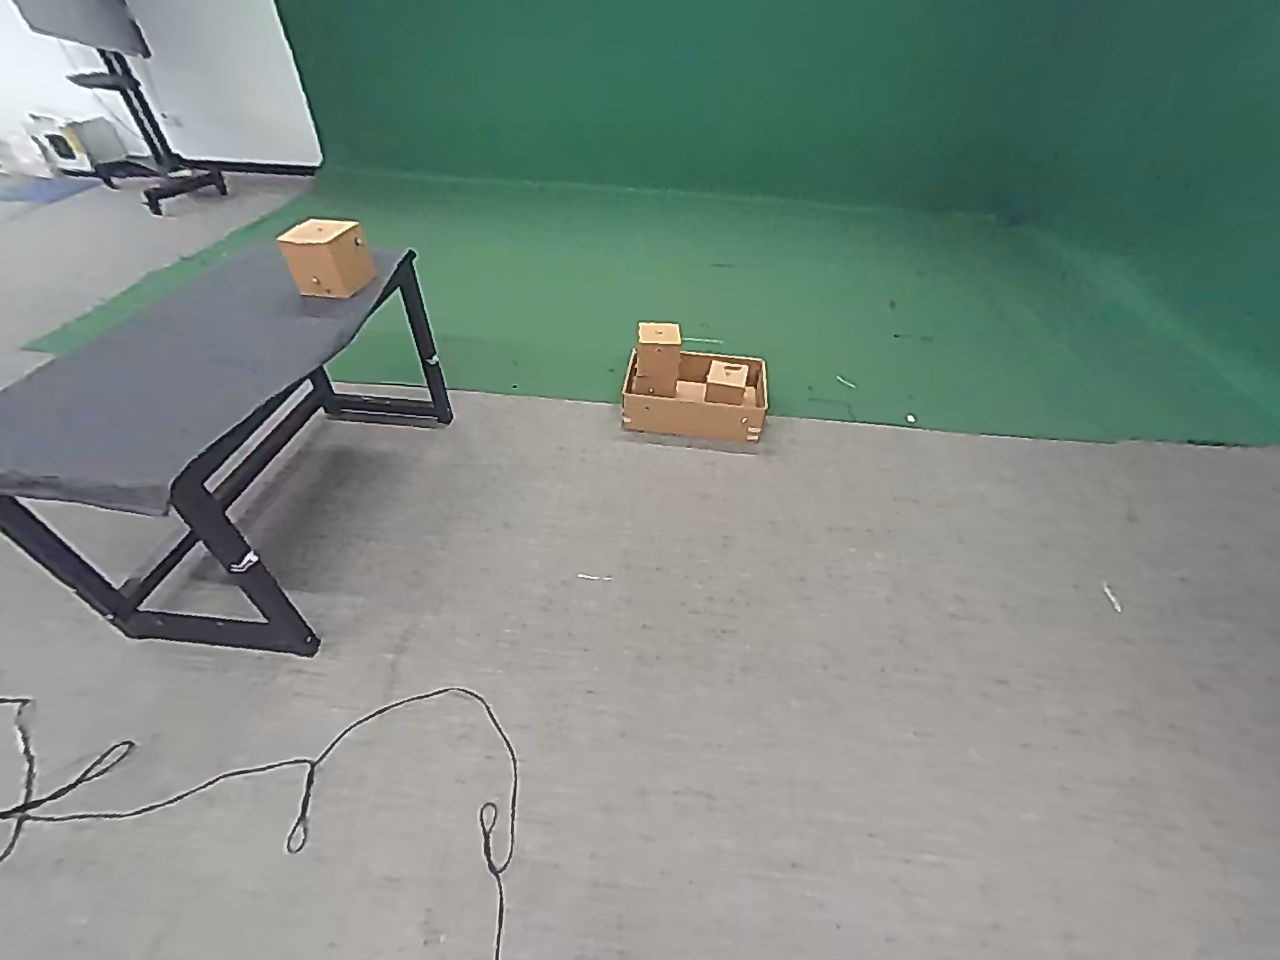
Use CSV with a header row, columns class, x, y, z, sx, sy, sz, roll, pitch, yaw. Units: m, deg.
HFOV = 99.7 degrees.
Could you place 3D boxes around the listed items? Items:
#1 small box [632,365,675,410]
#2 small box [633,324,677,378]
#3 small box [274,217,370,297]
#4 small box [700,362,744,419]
class,x,y,z,sx,sy,sz,roll,pitch,yaw
small box,0.058,-0.435,2.445,0.179,0.176,0.168,7,45,5
small box,0.061,-0.553,2.330,0.179,0.176,0.168,2,46,-5
small box,-0.956,-0.682,1.651,0.168,0.176,0.179,7,45,8
small box,0.366,-0.401,2.430,0.168,0.176,0.179,11,46,9
